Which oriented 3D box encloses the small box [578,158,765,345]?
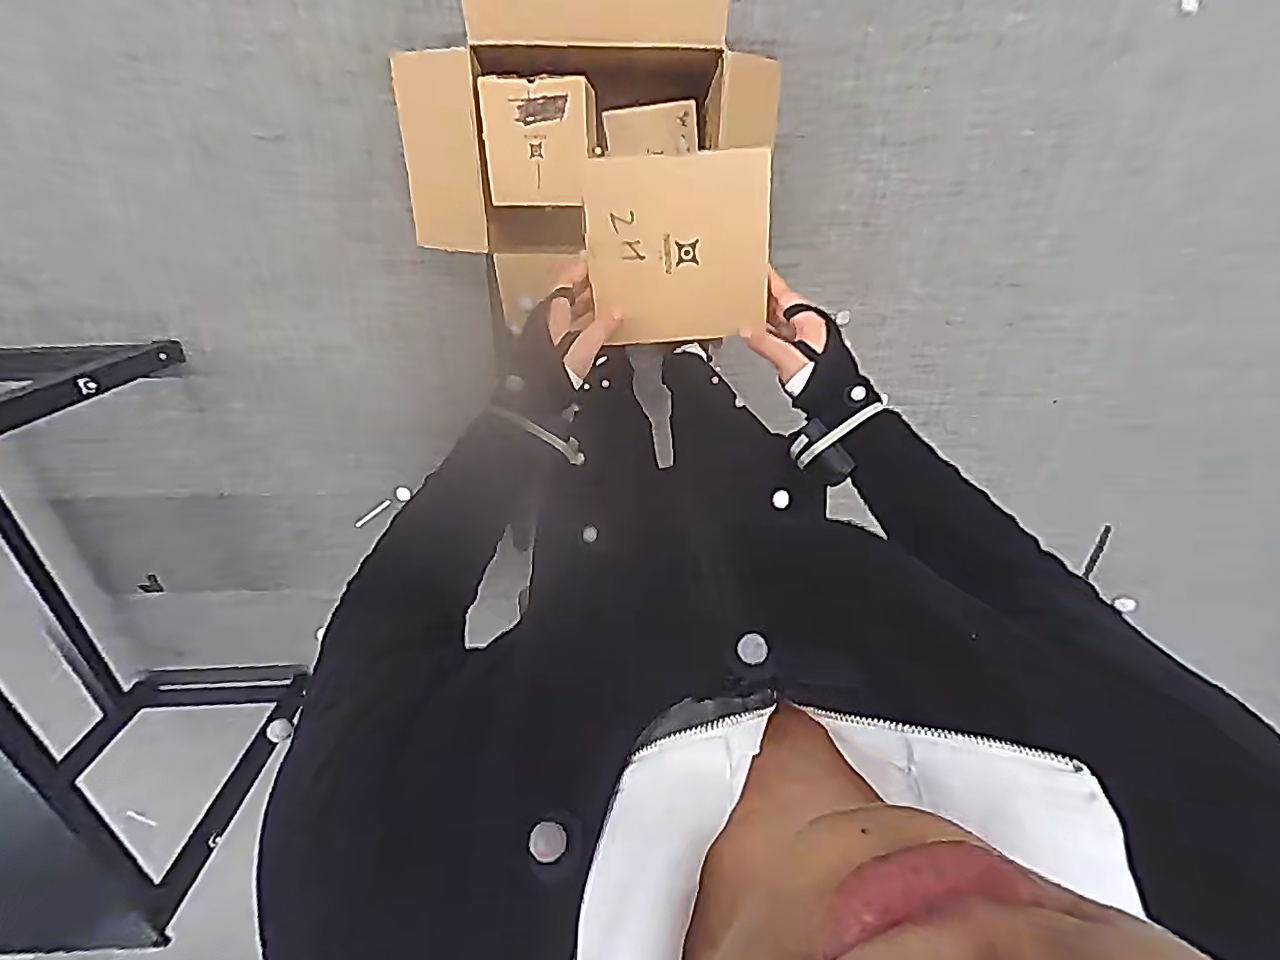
[{"bbox_3d":[0.029,-0.252,0.598,0.179,0.176,0.168,-3,114,0],"label":"small box"}]
